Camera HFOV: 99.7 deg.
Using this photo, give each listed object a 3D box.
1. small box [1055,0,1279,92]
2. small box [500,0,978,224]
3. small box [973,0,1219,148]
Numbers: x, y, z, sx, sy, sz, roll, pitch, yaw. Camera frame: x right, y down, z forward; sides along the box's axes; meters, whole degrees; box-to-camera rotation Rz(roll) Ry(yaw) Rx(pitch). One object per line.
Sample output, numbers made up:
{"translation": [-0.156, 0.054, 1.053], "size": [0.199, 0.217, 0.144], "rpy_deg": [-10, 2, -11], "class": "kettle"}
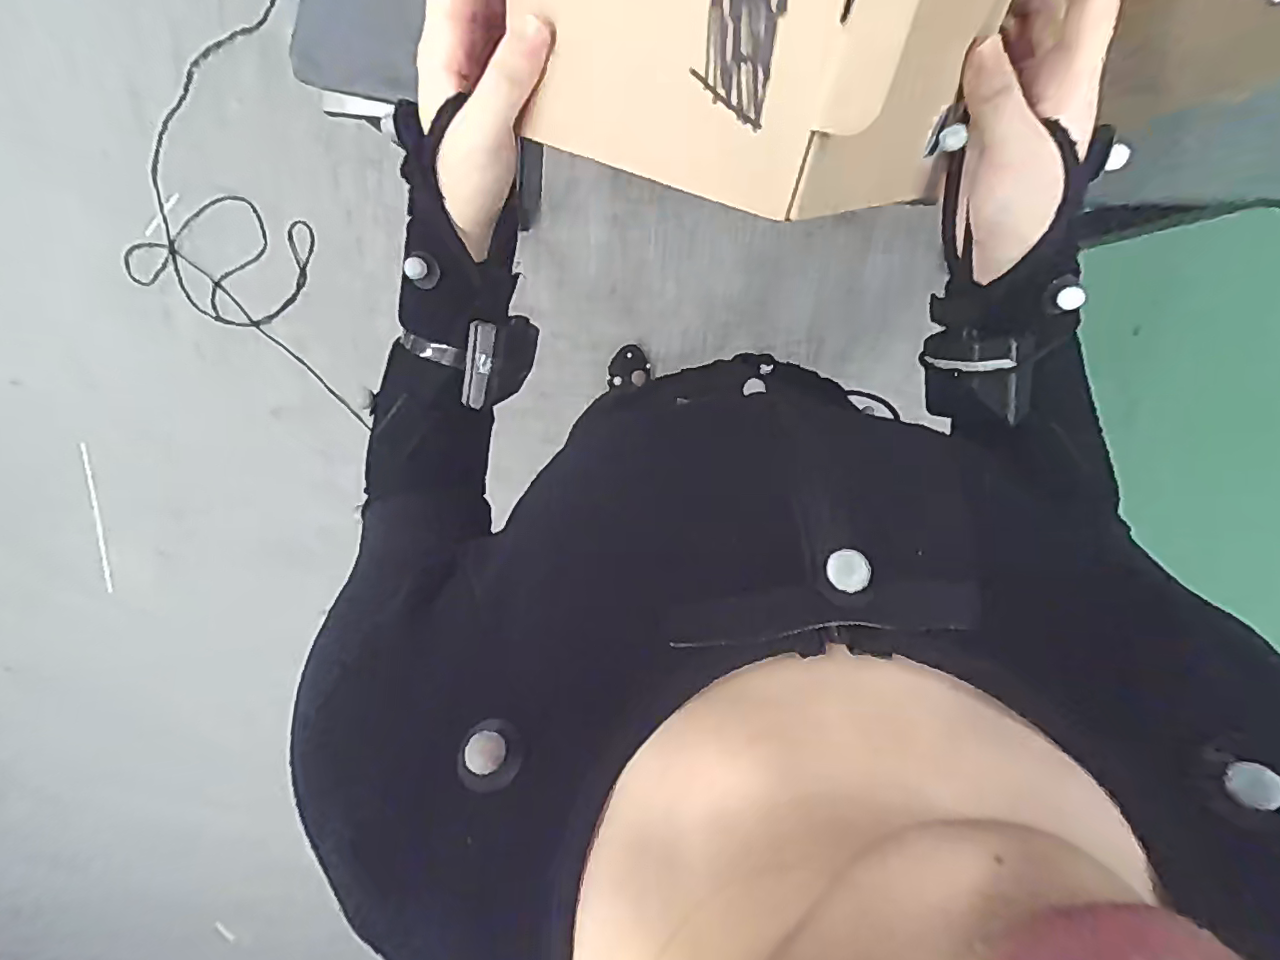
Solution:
{"translation": [0.460, -0.416, 0.381], "size": [0.179, 0.176, 0.168], "rpy_deg": [18, 102, 0], "class": "small box"}
{"translation": [0.054, -0.239, 0.253], "size": [0.179, 0.176, 0.168], "rpy_deg": [34, 134, 27], "class": "small box"}
{"translation": [0.469, -0.465, 0.536], "size": [0.168, 0.176, 0.179], "rpy_deg": [8, 103, 2], "class": "small box"}
